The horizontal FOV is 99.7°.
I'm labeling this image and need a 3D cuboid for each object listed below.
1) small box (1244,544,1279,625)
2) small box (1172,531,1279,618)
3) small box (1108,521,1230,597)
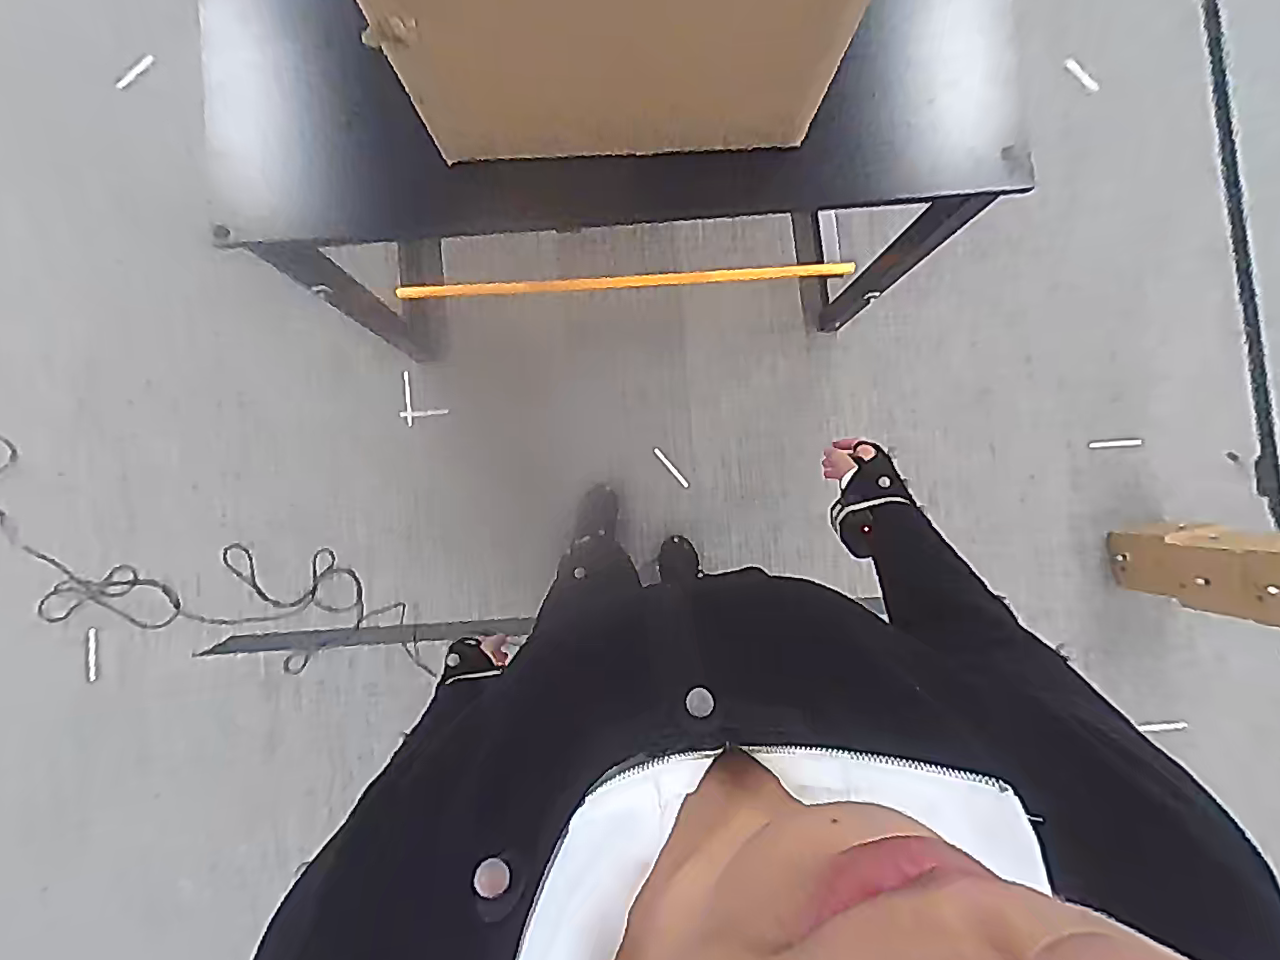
[{"bbox_3d":[1.432,0.218,1.116,0.179,0.176,0.168,-6,87,-1],"label":"small box"},{"bbox_3d":[1.424,0.217,1.282,0.179,0.176,0.168,-11,88,-1],"label":"small box"},{"bbox_3d":[1.420,0.205,1.446,0.179,0.176,0.168,-10,87,0],"label":"small box"}]
